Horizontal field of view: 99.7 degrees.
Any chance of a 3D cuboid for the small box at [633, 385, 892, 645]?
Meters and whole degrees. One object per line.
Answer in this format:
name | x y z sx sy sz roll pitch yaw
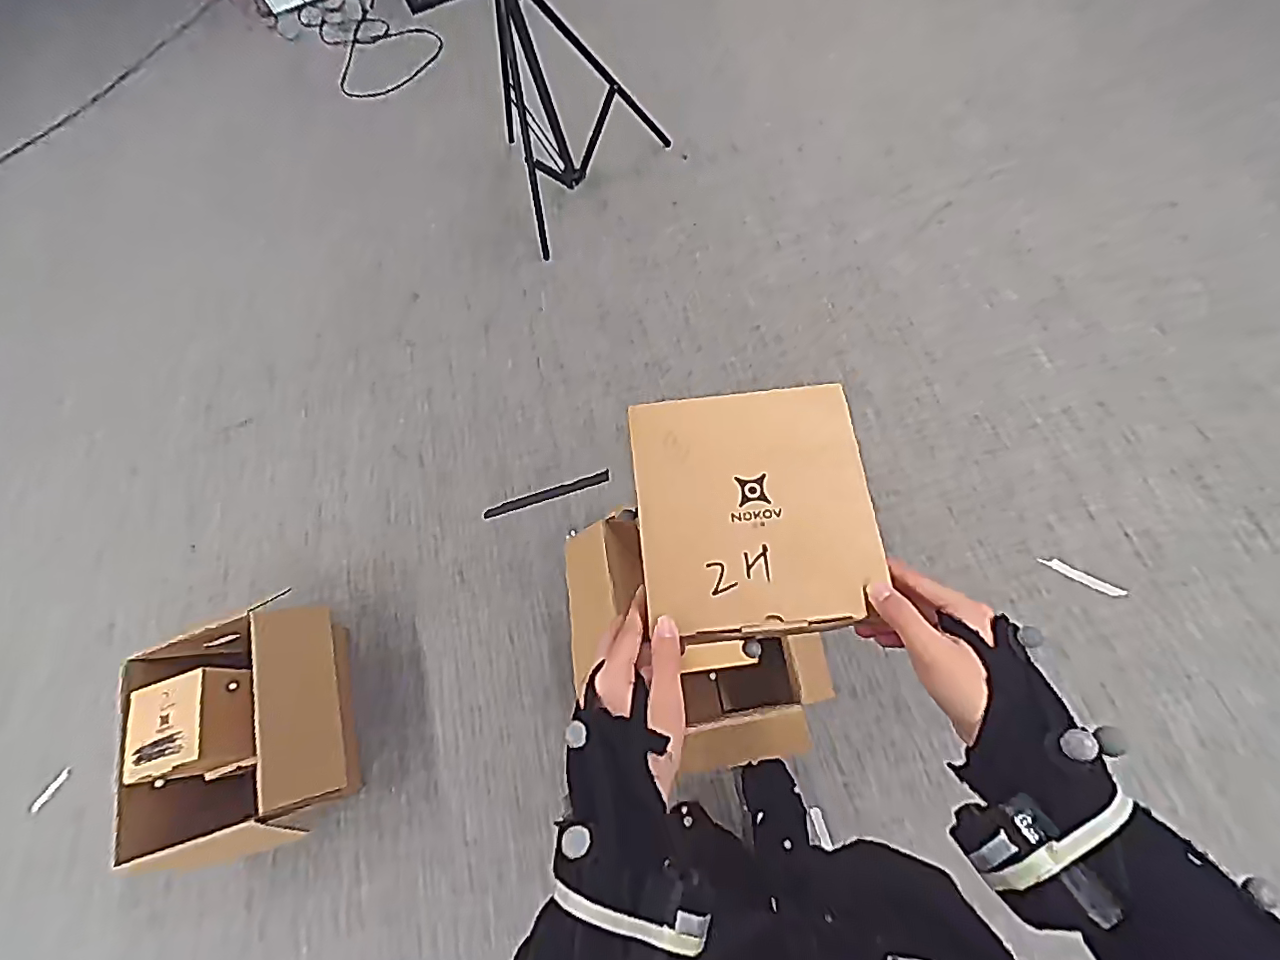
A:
small box | 0.084 0.041 0.466 0.168 0.176 0.179 -7 71 1
